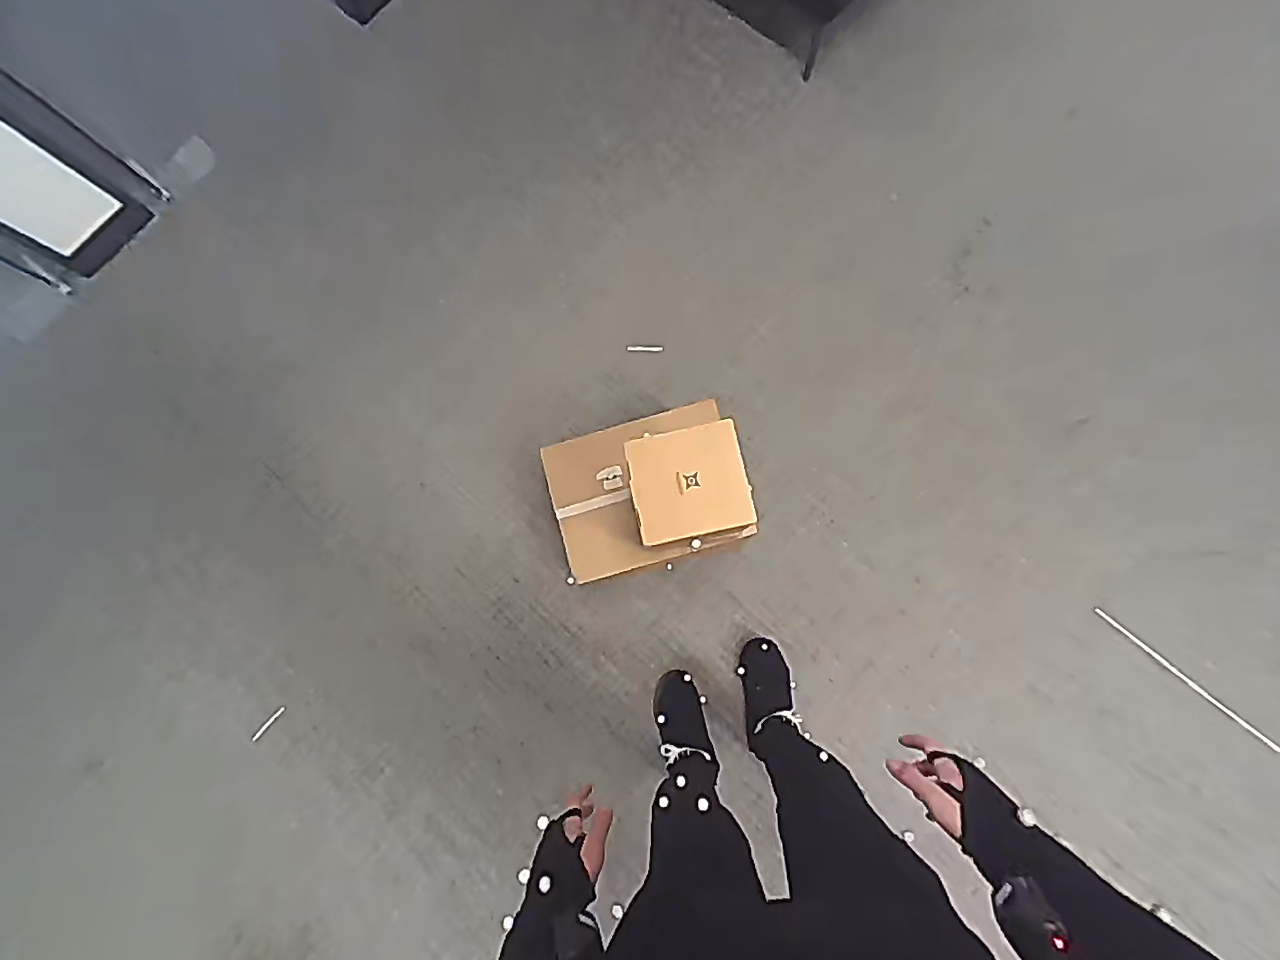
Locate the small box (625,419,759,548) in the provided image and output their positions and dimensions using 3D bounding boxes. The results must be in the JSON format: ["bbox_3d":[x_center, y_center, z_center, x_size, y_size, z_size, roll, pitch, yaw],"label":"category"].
[{"bbox_3d":[0.080,0.013,0.885,0.179,0.176,0.168,-13,81,3],"label":"small box"}]

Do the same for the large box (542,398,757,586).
[{"bbox_3d":[0.026,0.045,1.298,0.408,0.320,0.320,-17,78,2],"label":"large box"}]
